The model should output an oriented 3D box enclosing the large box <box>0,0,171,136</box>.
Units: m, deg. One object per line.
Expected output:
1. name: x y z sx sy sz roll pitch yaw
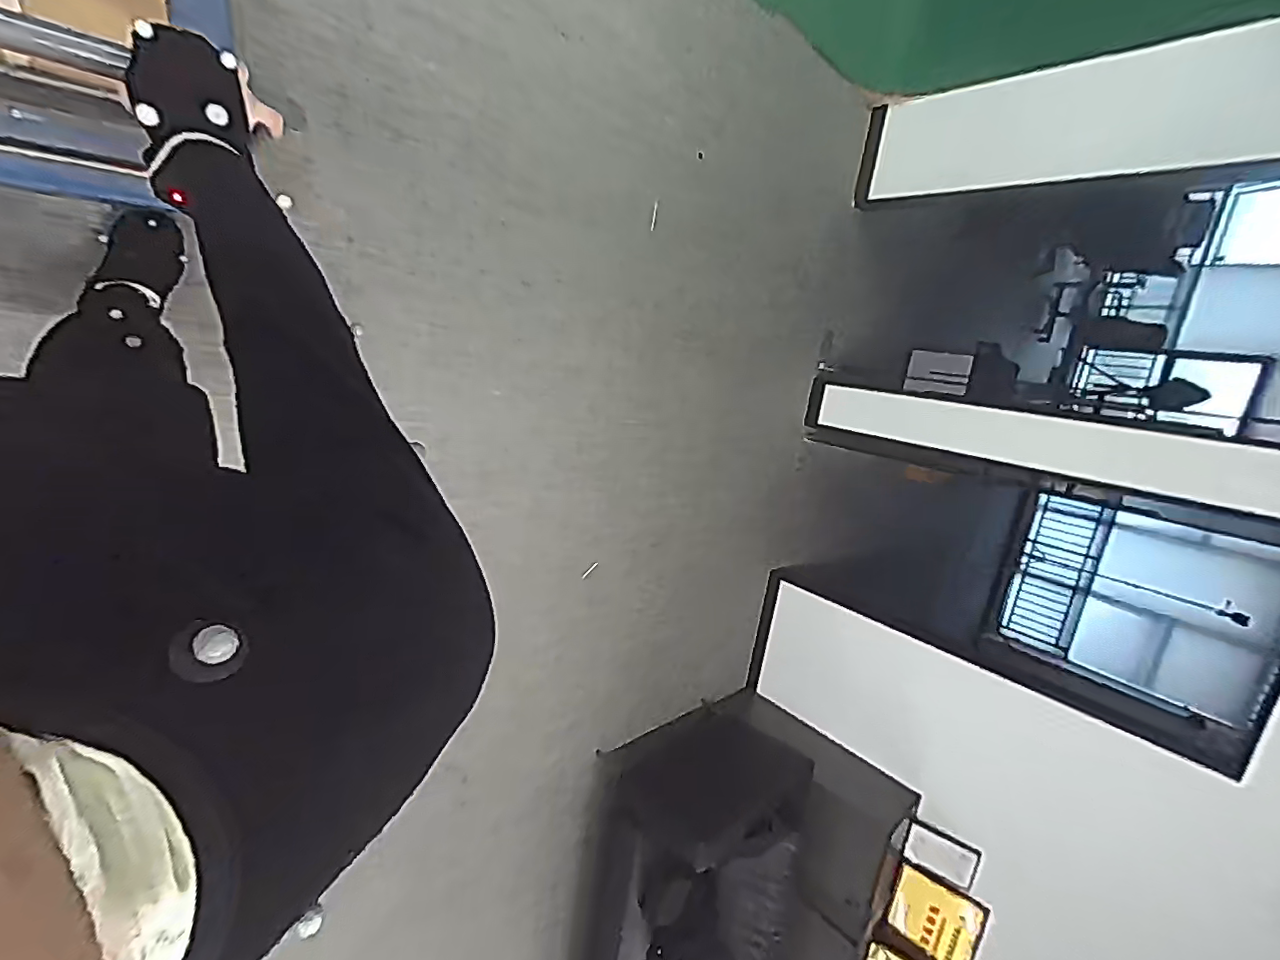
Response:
1. large box: -0.873 -0.750 0.725 0.320 0.320 0.408 -10 112 -42
